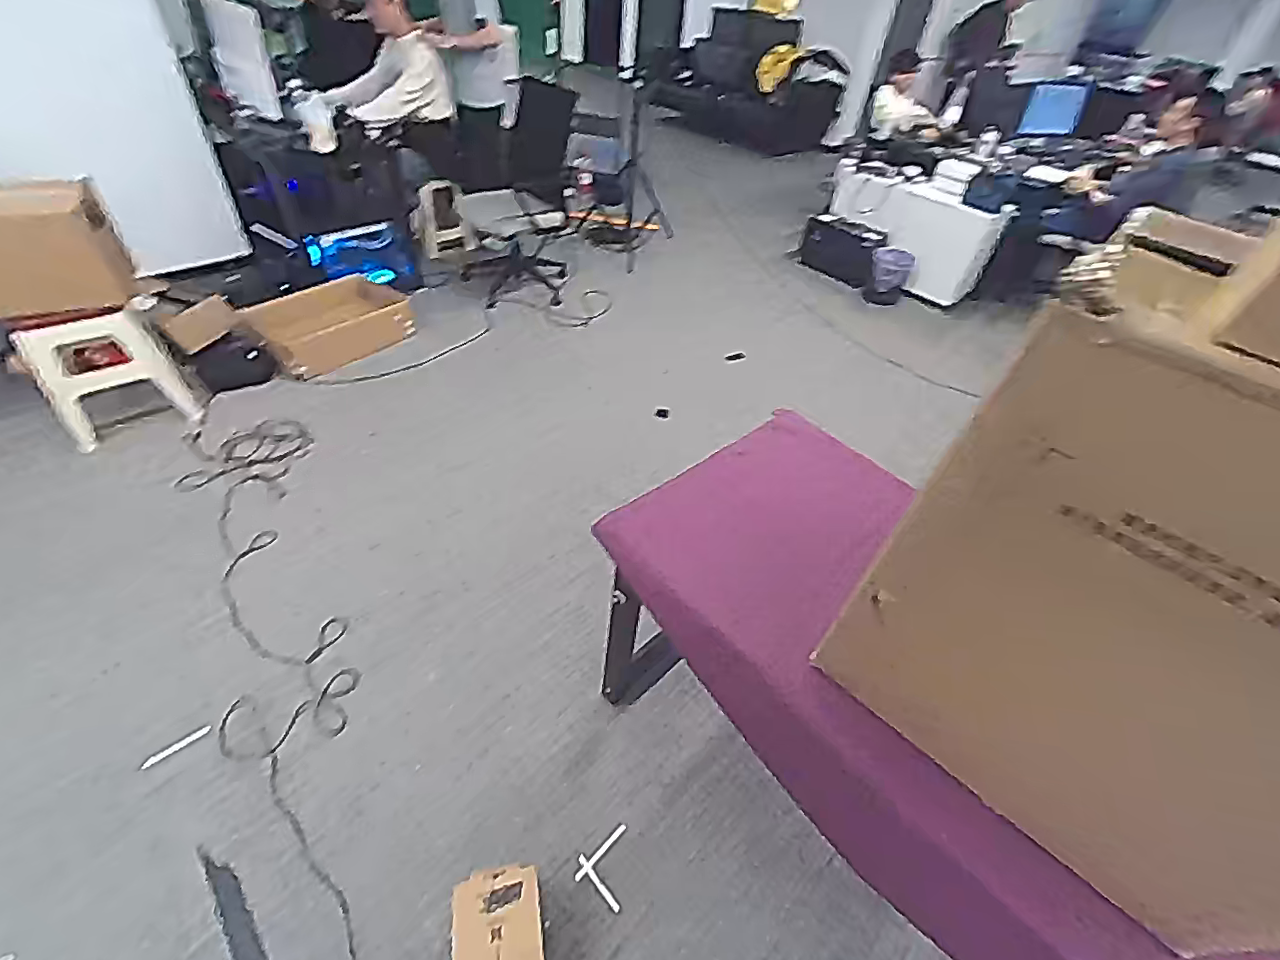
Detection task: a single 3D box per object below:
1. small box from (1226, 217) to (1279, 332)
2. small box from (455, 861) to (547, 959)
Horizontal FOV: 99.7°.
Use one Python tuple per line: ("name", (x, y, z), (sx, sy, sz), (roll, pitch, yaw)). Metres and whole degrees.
("small box", (0.550, -0.163, 0.353), (0.168, 0.176, 0.179), (37, 50, 23))
("small box", (-0.276, 0.903, 1.086), (0.168, 0.176, 0.179), (-5, 46, -13))
